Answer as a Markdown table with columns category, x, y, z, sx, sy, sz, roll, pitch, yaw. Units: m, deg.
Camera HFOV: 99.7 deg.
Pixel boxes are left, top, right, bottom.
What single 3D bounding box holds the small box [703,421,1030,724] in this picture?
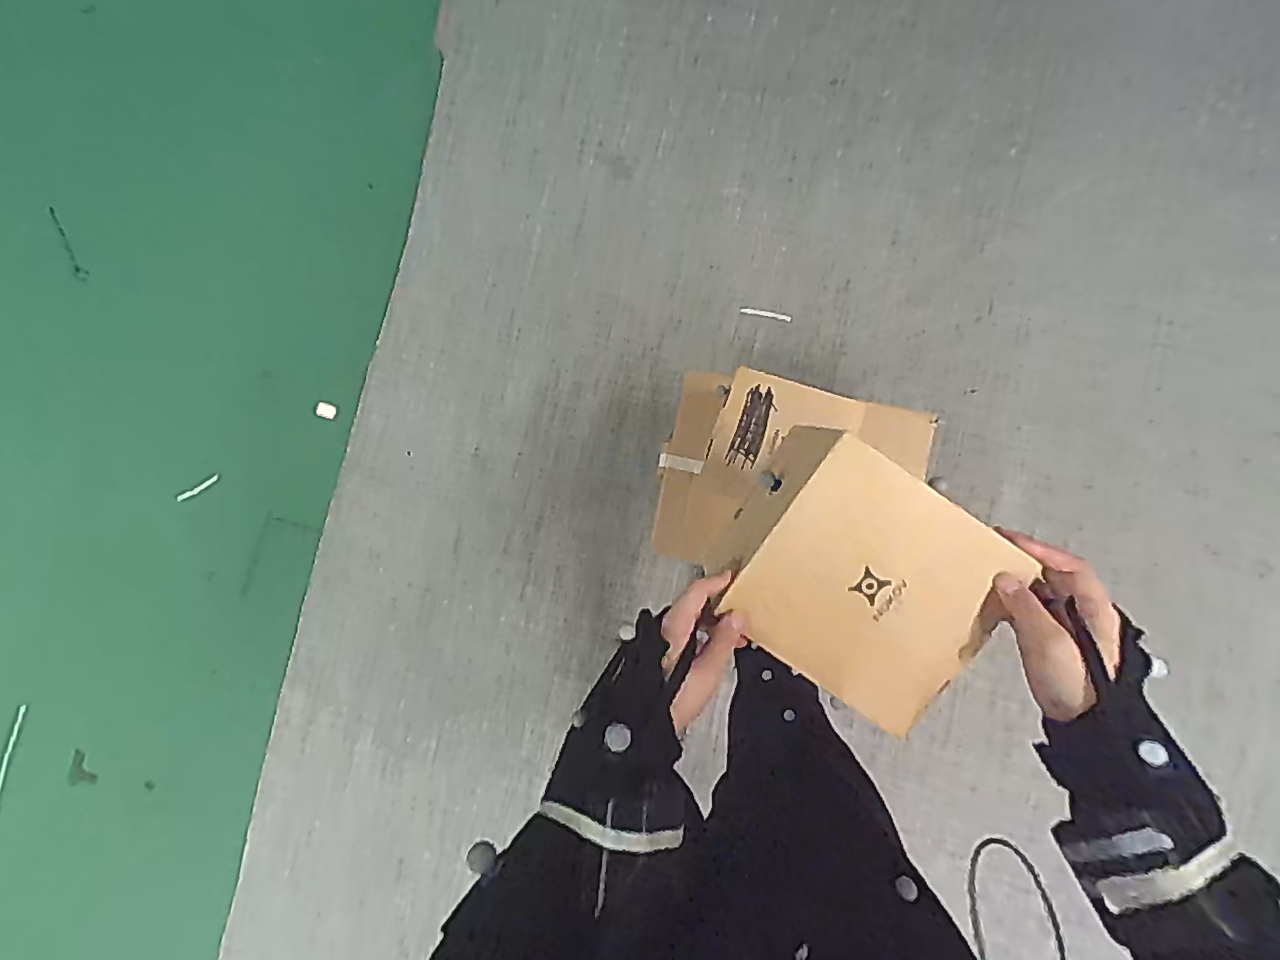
| category | x | y | z | sx | sy | sz | roll | pitch | yaw |
| --- | --- | --- | --- | --- | --- | --- | --- | --- | --- |
| small box | 0.170 | 0.064 | 0.476 | 0.179 | 0.176 | 0.168 | 34 | 97 | -2 |

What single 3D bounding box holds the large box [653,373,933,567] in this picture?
| category | x | y | z | sx | sy | sz | roll | pitch | yaw |
| --- | --- | --- | --- | --- | --- | --- | --- | --- | --- |
| large box | 0.253 | 0.018 | 1.012 | 0.408 | 0.320 | 0.320 | 12 | 88 | 6 |
